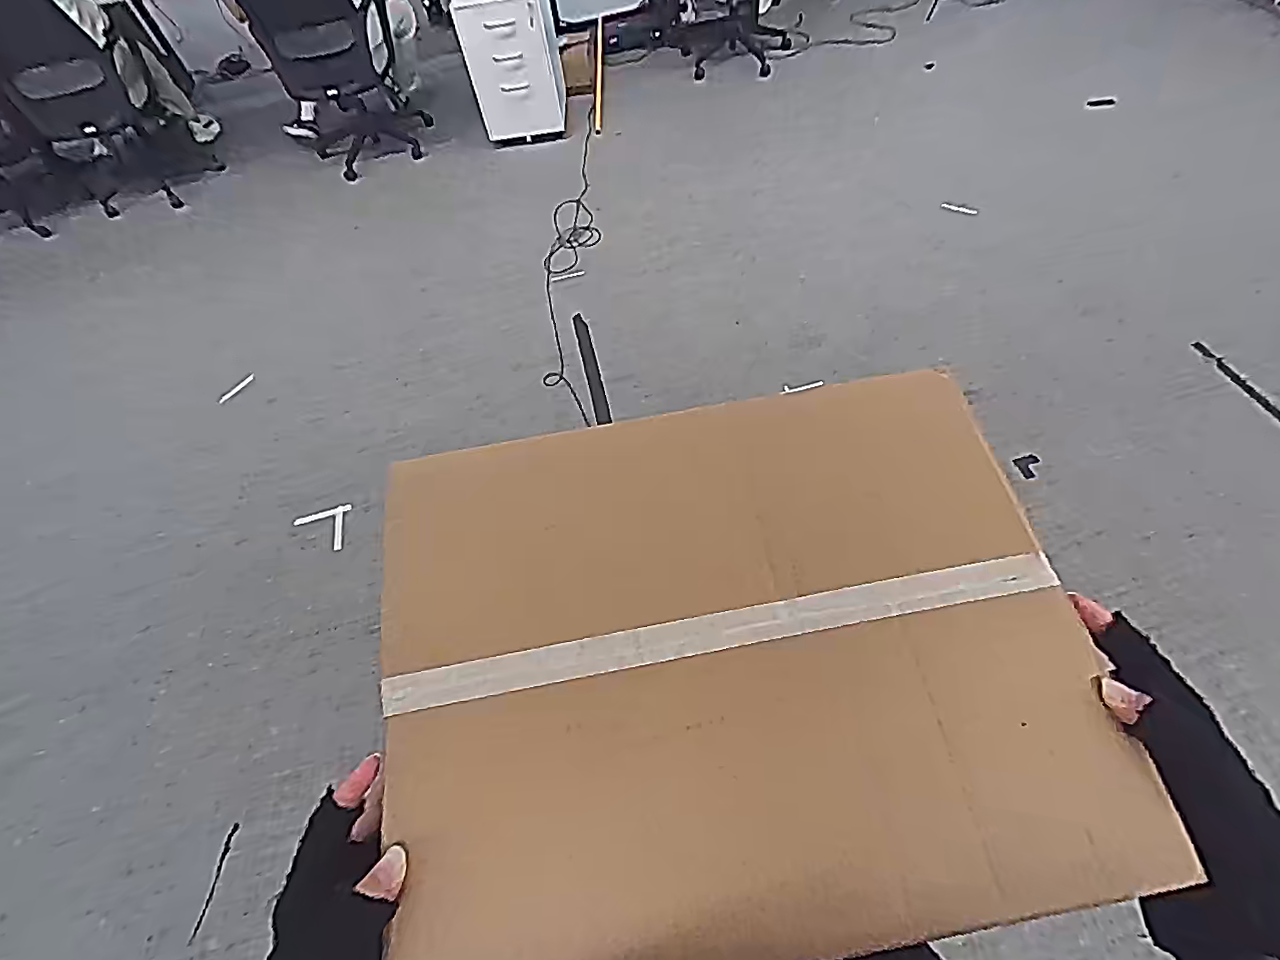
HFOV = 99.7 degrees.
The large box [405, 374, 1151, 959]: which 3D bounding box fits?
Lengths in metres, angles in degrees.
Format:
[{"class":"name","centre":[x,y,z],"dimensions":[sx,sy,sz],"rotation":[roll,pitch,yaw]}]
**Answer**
[{"class":"large box","centre":[0.056,0.155,0.474],"dimensions":[0.408,0.320,0.320],"rotation":[-11,66,-2]}]
